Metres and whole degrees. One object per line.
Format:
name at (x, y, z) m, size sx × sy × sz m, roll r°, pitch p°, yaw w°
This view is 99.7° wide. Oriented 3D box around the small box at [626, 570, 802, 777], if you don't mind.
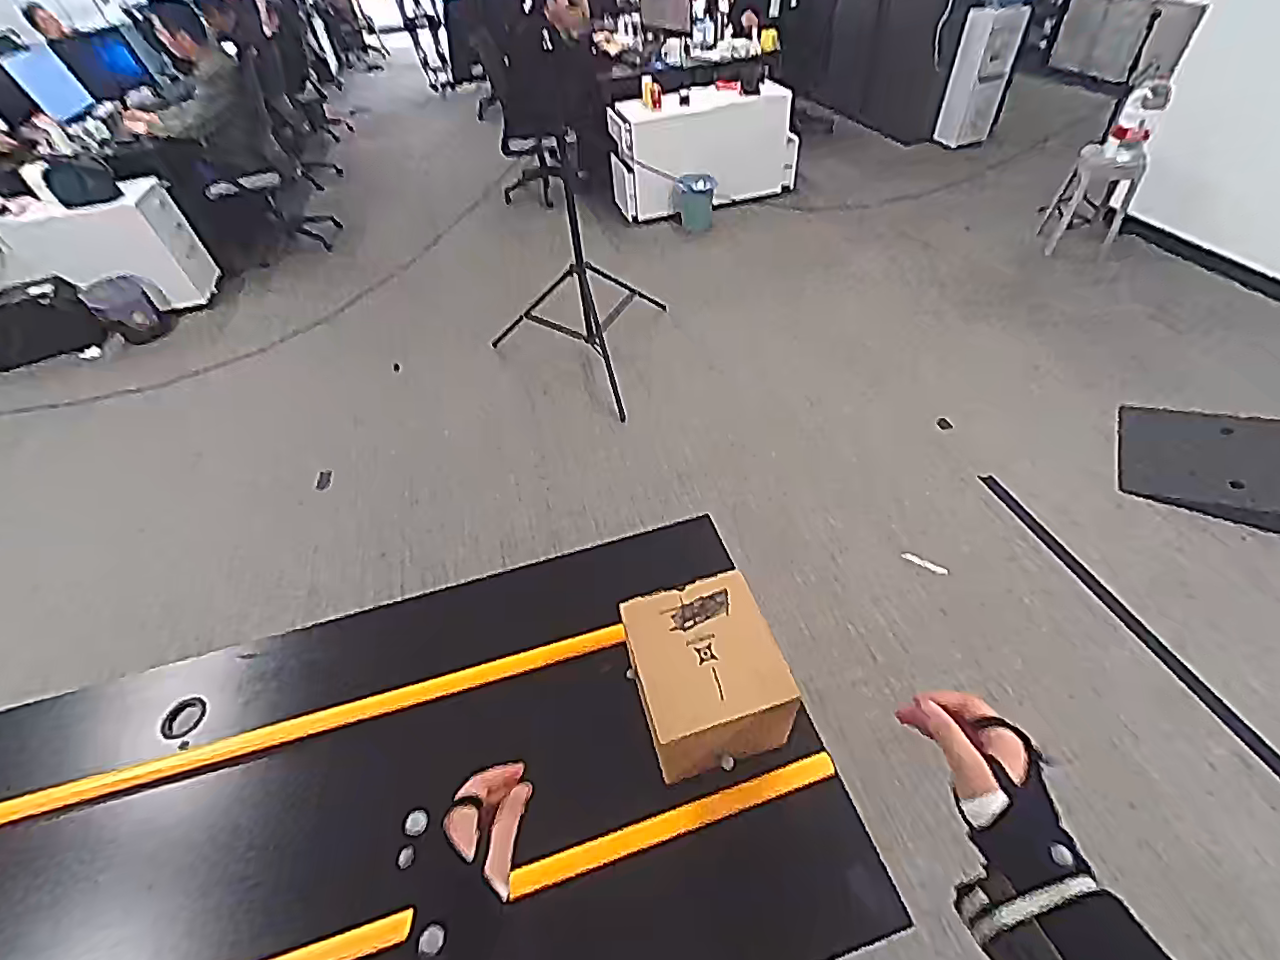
small box at (0.085, 0.249, 0.698) m, size 0.168 × 0.176 × 0.179 m, roll -15°, pitch 48°, yaw -7°
